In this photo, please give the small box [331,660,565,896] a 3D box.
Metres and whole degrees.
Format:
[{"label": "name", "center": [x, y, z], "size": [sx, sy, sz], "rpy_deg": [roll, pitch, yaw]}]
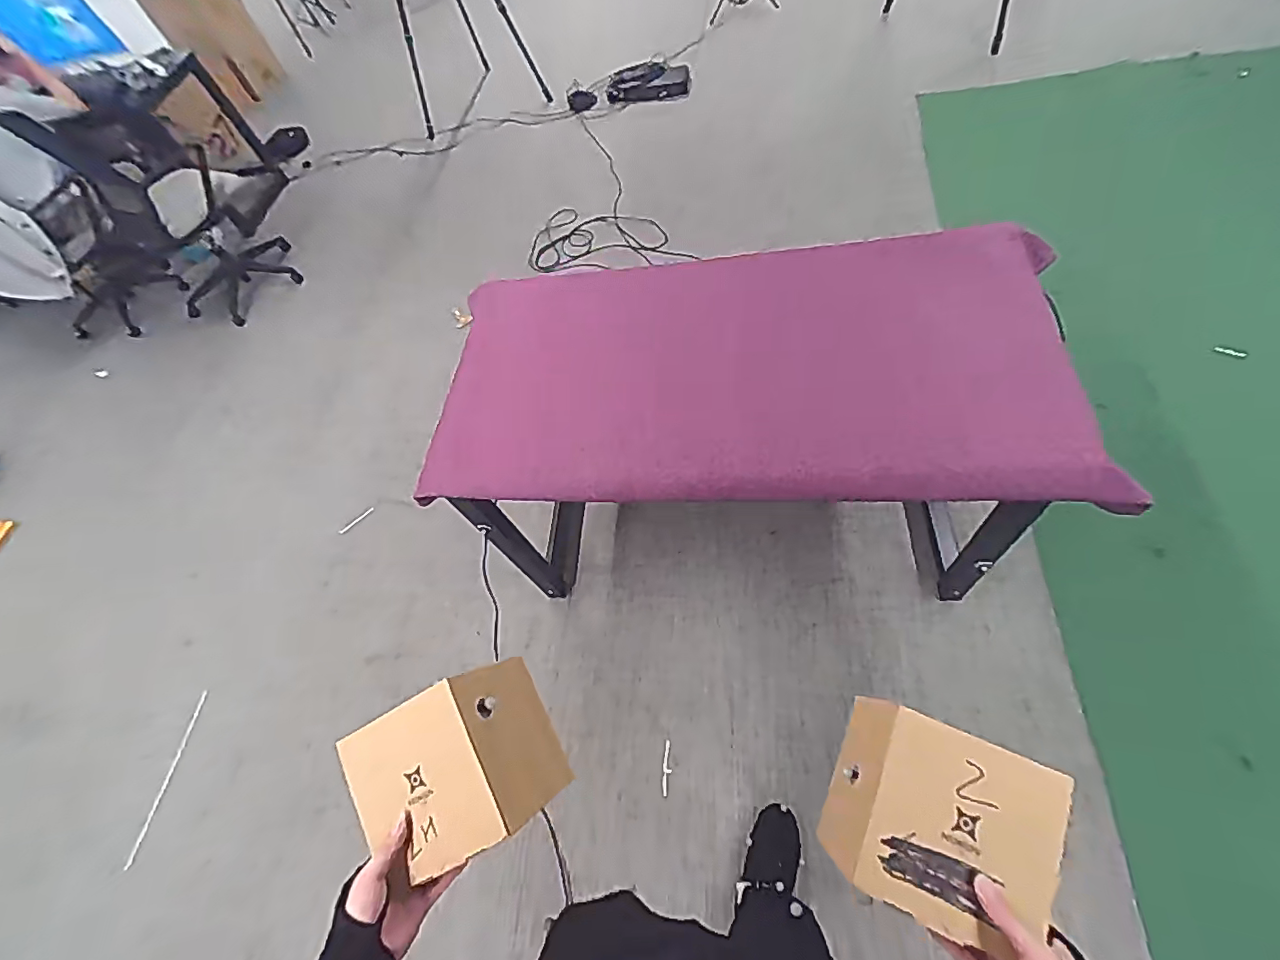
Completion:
[{"label": "small box", "center": [-0.219, 0.332, 0.647], "size": [0.168, 0.176, 0.179], "rpy_deg": [-31, 75, 10]}]
